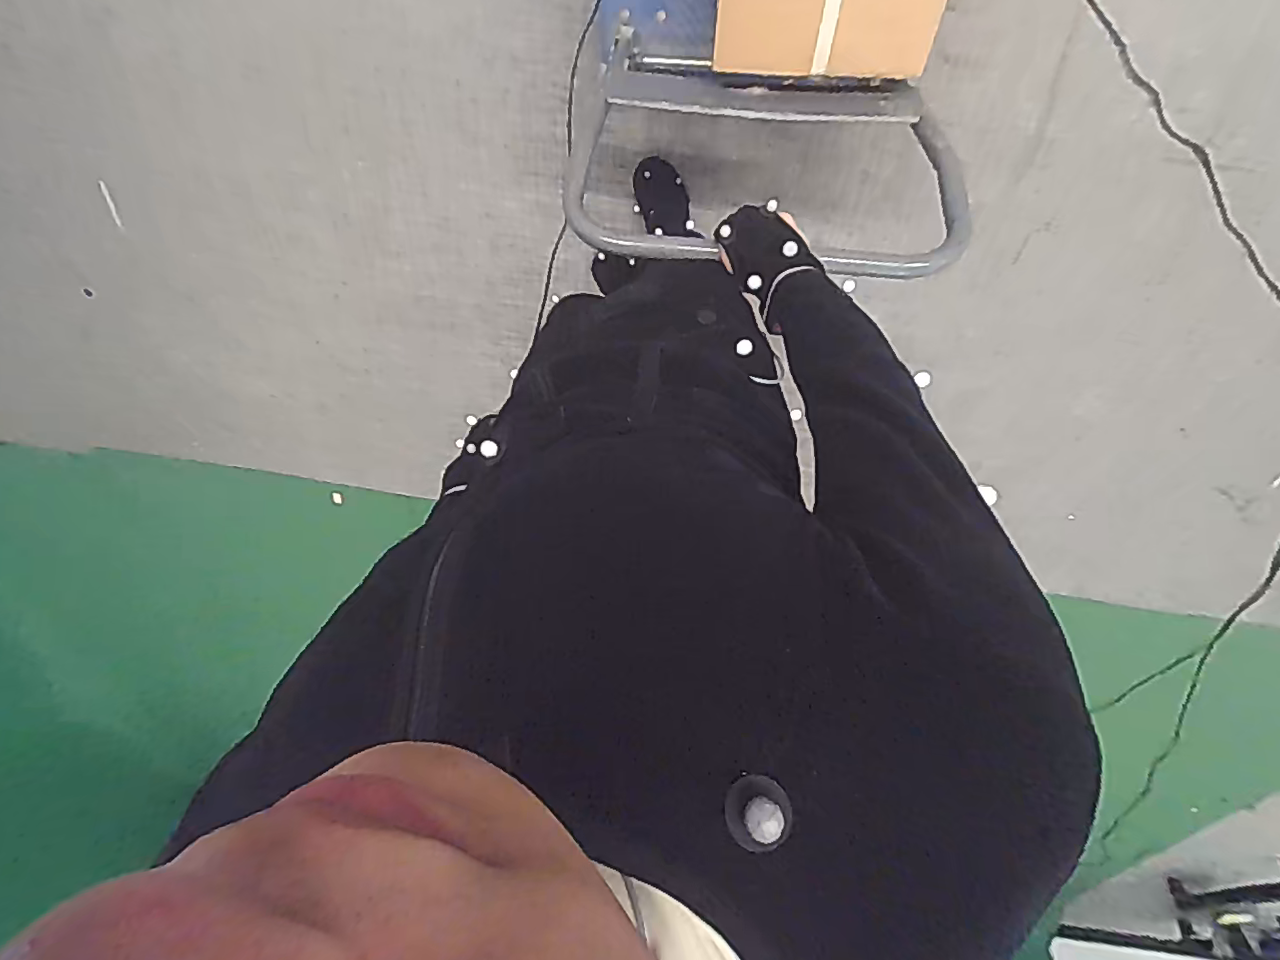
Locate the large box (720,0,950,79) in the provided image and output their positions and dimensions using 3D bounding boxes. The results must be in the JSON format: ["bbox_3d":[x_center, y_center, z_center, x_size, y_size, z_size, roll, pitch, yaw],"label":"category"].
[{"bbox_3d":[0.293,-0.857,0.780,0.320,0.320,0.408,5,137,3],"label":"large box"}]
